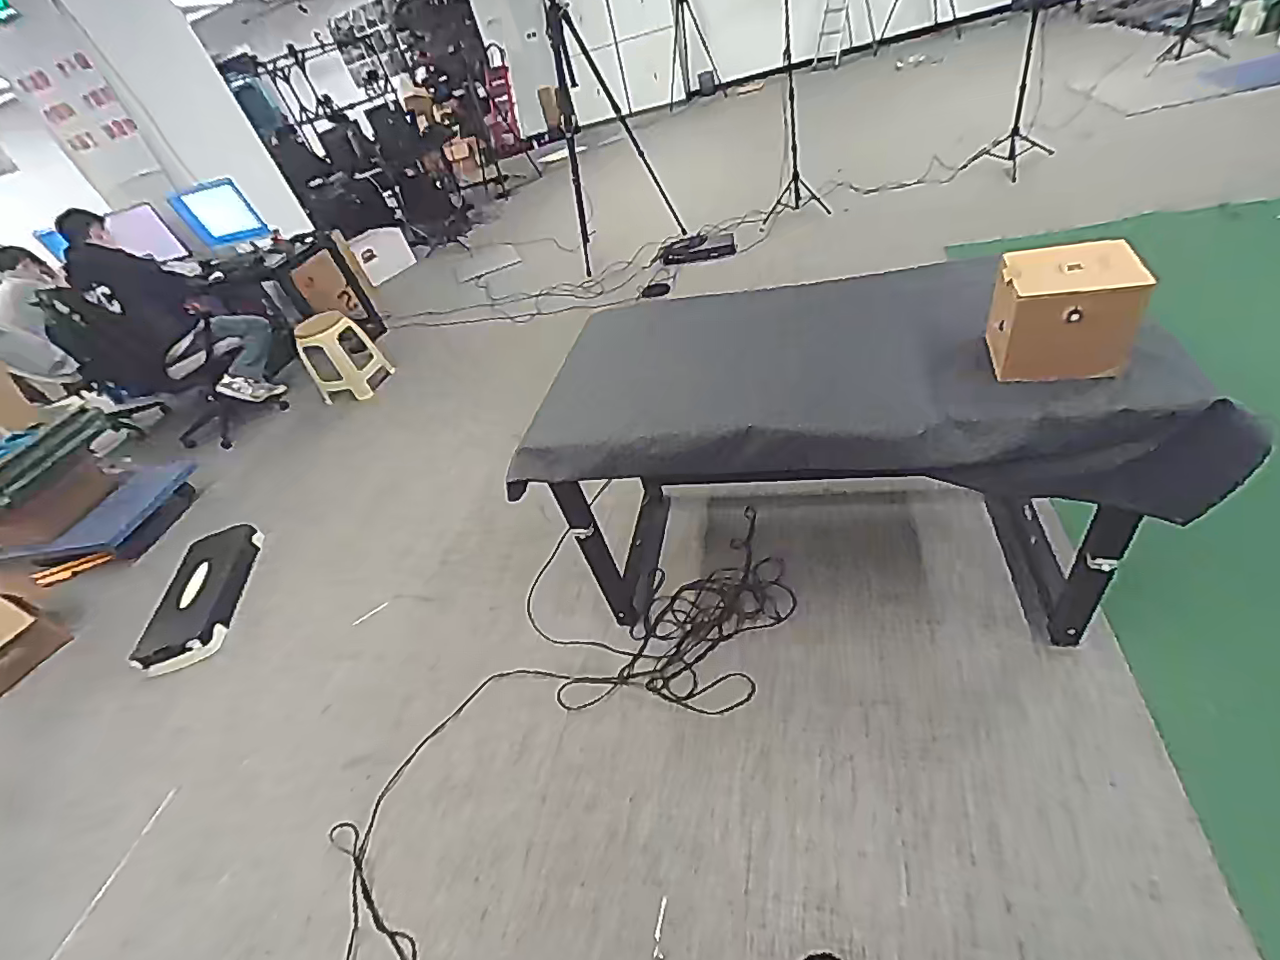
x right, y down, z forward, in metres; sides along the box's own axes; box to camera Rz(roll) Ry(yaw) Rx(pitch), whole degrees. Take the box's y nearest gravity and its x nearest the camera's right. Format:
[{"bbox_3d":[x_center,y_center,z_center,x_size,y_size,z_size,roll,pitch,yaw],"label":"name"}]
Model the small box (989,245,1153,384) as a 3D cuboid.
[{"bbox_3d":[0.716,-0.277,0.926,0.179,0.176,0.168,2,45,22],"label":"small box"}]
